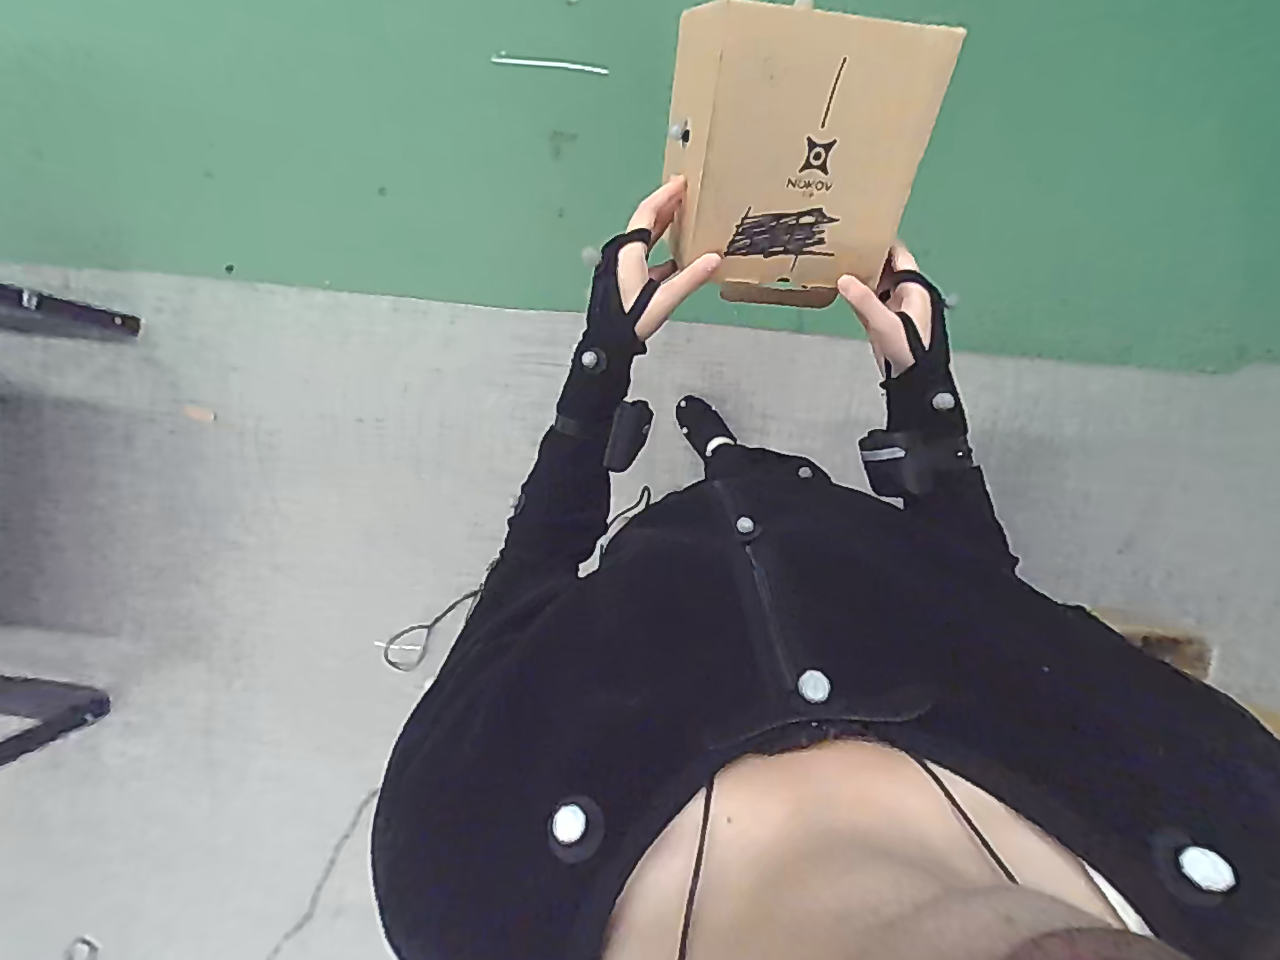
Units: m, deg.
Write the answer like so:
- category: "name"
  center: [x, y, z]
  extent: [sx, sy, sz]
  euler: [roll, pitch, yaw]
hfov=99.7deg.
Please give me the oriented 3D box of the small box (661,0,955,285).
- category: "small box"
  center: [0.115, -0.286, 0.462]
  extent: [0.168, 0.176, 0.179]
  euler: [0, 127, -8]
